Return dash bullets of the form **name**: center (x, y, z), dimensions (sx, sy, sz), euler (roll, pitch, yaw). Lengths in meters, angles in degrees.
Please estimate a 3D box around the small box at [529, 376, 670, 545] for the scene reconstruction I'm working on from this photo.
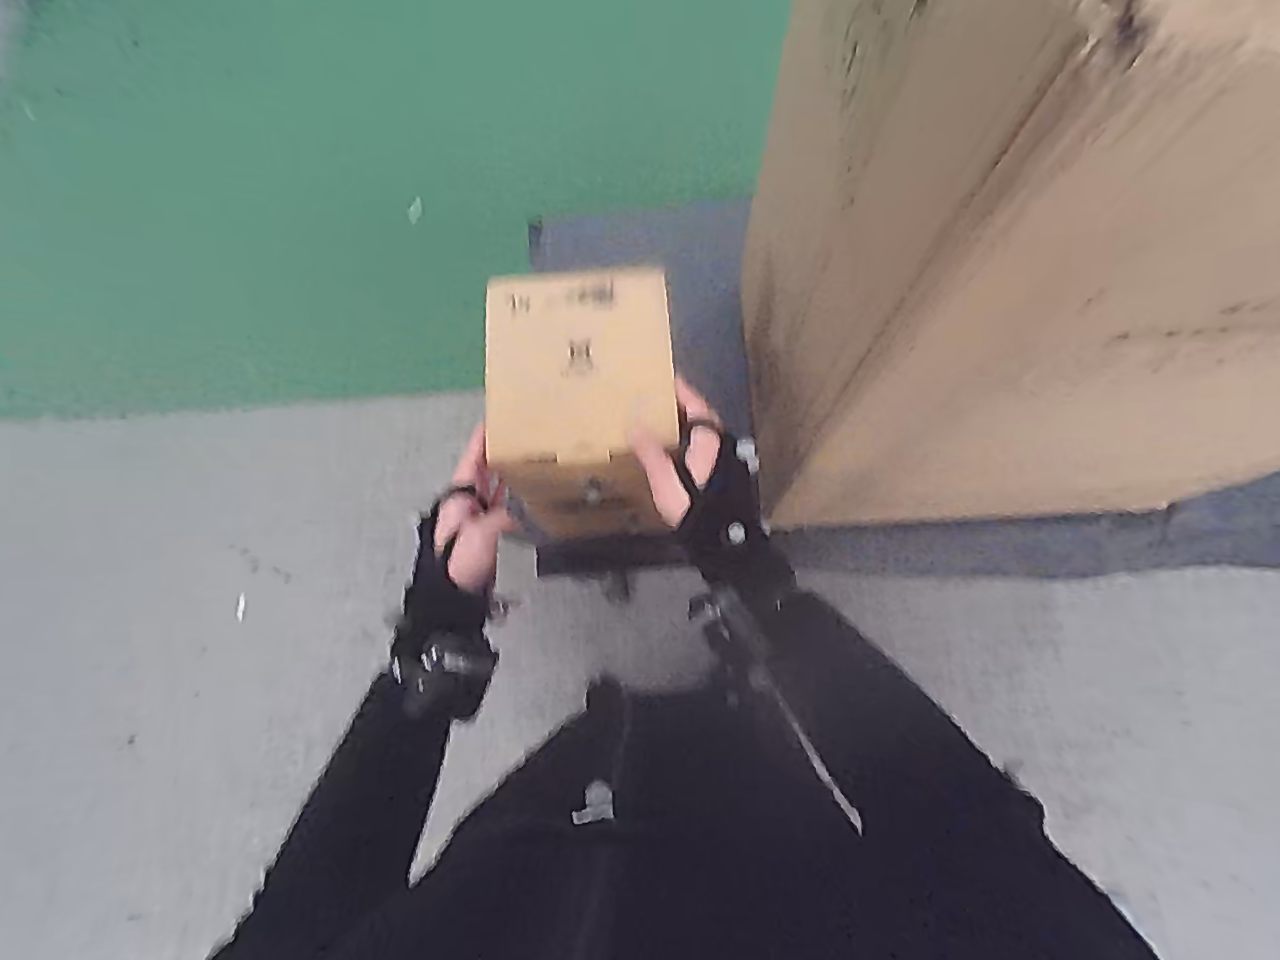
- **small box**: center (-0.047, -0.015, 0.717), dimensions (0.168, 0.176, 0.179), euler (-5, 70, 0)
